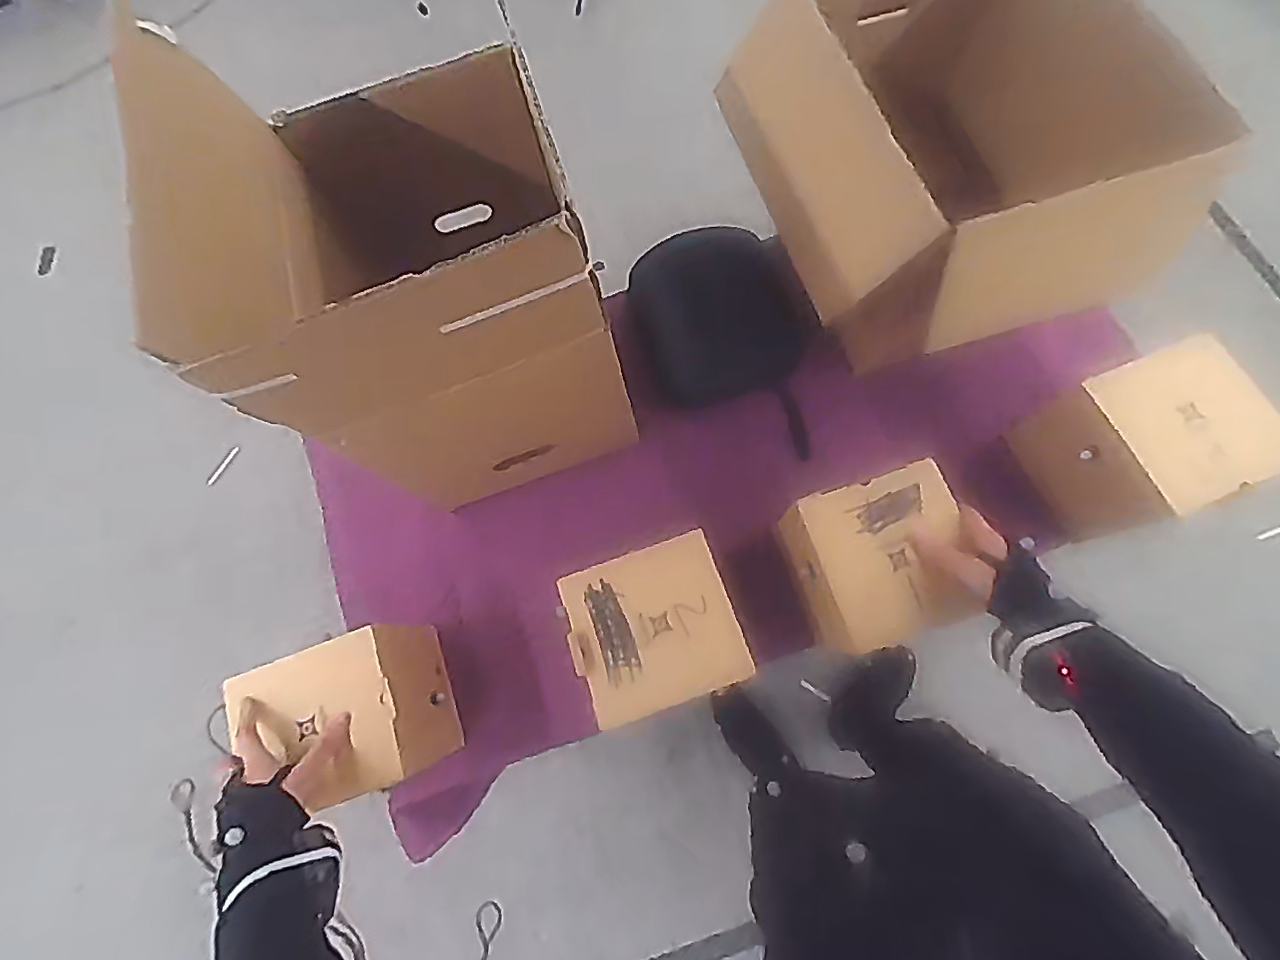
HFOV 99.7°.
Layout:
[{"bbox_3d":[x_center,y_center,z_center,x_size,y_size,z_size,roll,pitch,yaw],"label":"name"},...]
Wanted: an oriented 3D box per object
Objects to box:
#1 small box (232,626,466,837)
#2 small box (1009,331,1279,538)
[{"bbox_3d":[-0.339,0.289,0.654,0.179,0.176,0.168,-20,73,-3],"label":"small box"},{"bbox_3d":[0.614,-0.046,0.673,0.168,0.176,0.179,-22,73,-1],"label":"small box"}]
